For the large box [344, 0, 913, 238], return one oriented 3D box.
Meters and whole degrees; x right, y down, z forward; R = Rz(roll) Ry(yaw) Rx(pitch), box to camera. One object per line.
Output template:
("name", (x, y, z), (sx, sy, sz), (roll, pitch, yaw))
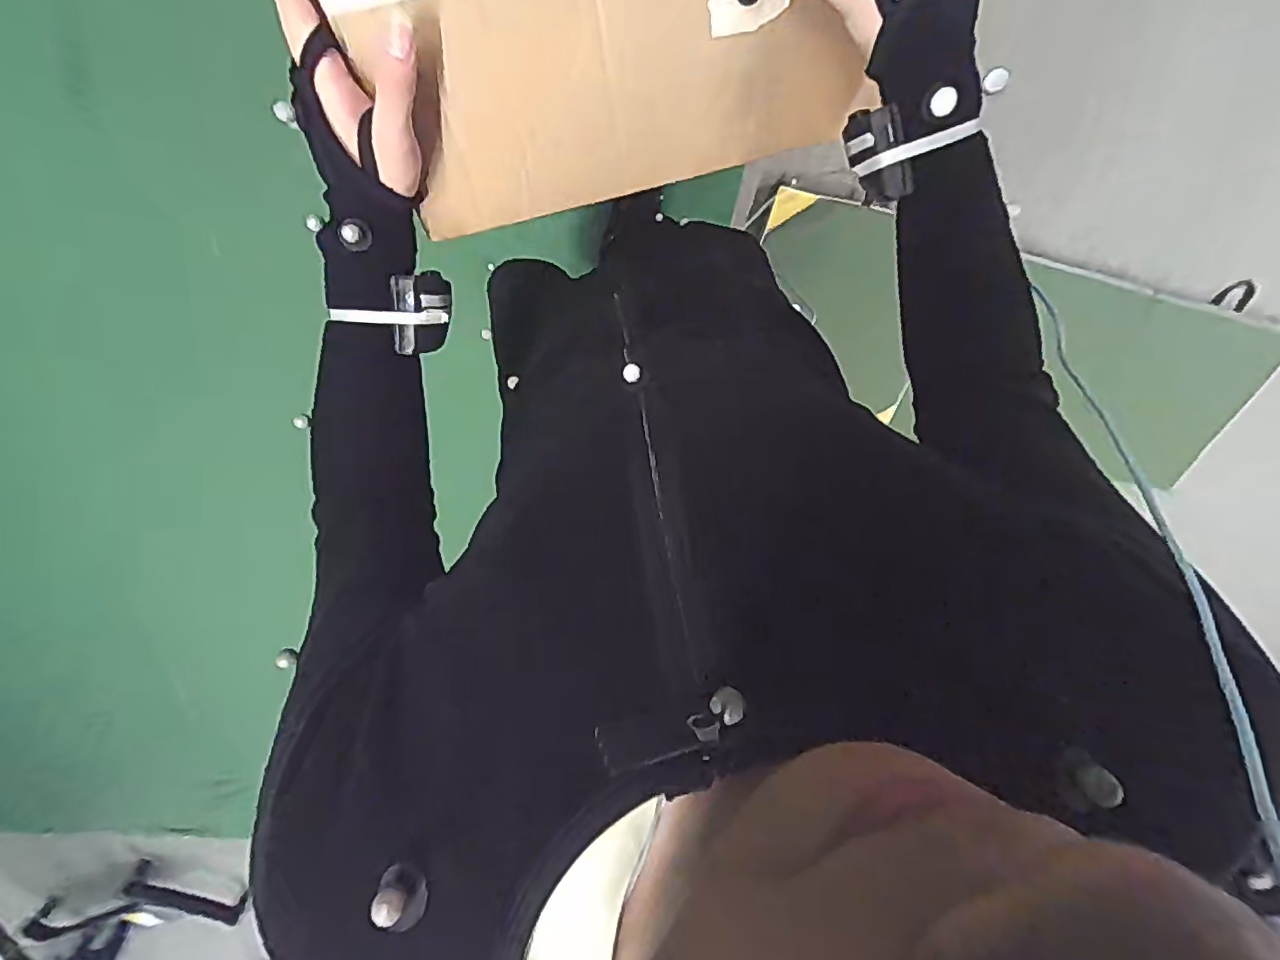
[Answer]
("large box", (-0.032, -0.457, 0.449), (0.408, 0.320, 0.320), (-16, 137, -3))
